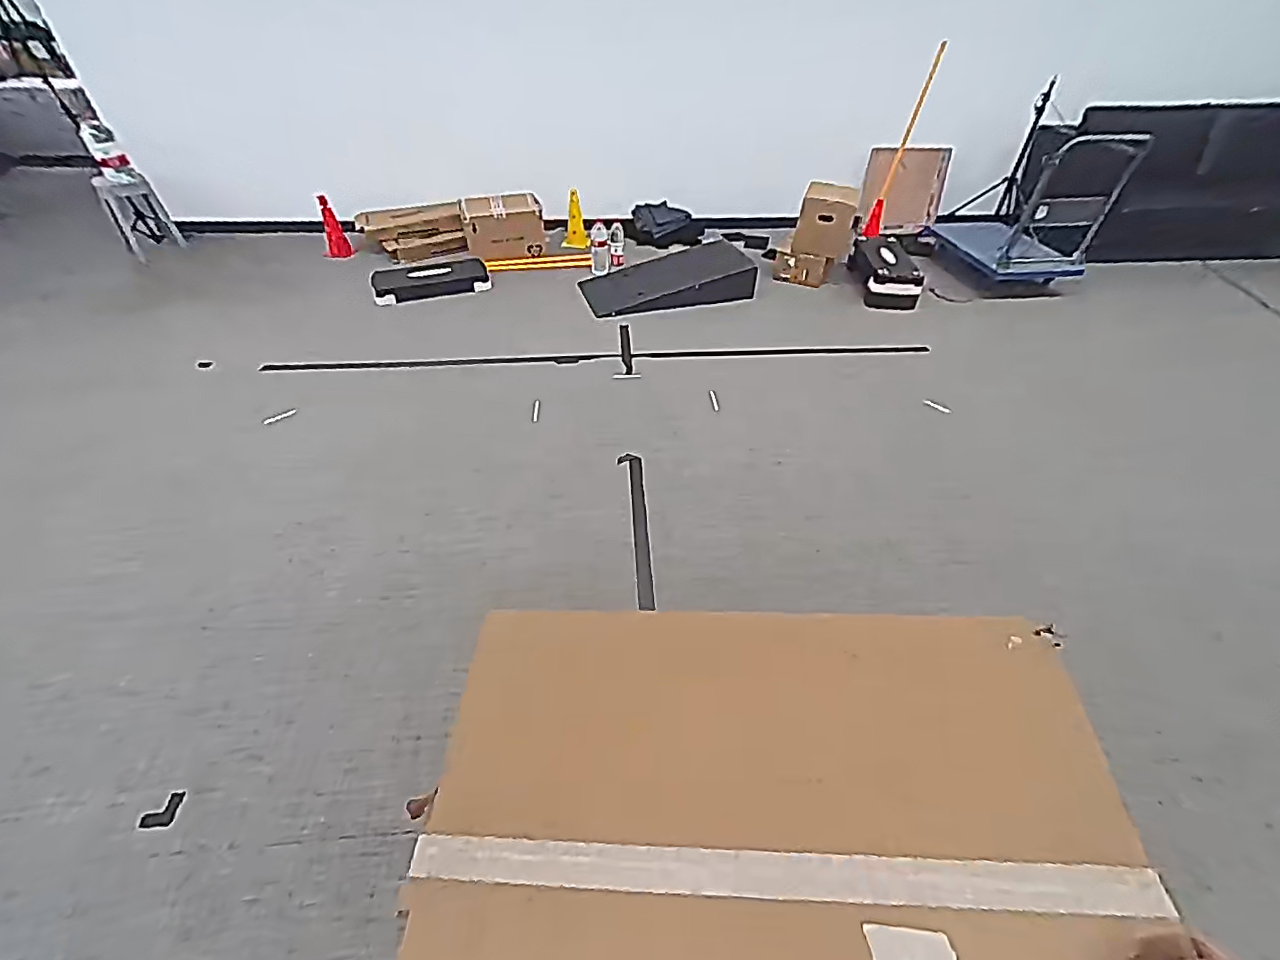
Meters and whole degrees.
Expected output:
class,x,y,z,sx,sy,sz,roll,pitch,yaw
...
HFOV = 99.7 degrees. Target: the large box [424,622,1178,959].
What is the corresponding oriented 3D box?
class,x,y,z,sx,sy,sz,roll,pitch,yaw
large box,0.088,0.320,0.426,0.408,0.320,0.320,-1,52,4
